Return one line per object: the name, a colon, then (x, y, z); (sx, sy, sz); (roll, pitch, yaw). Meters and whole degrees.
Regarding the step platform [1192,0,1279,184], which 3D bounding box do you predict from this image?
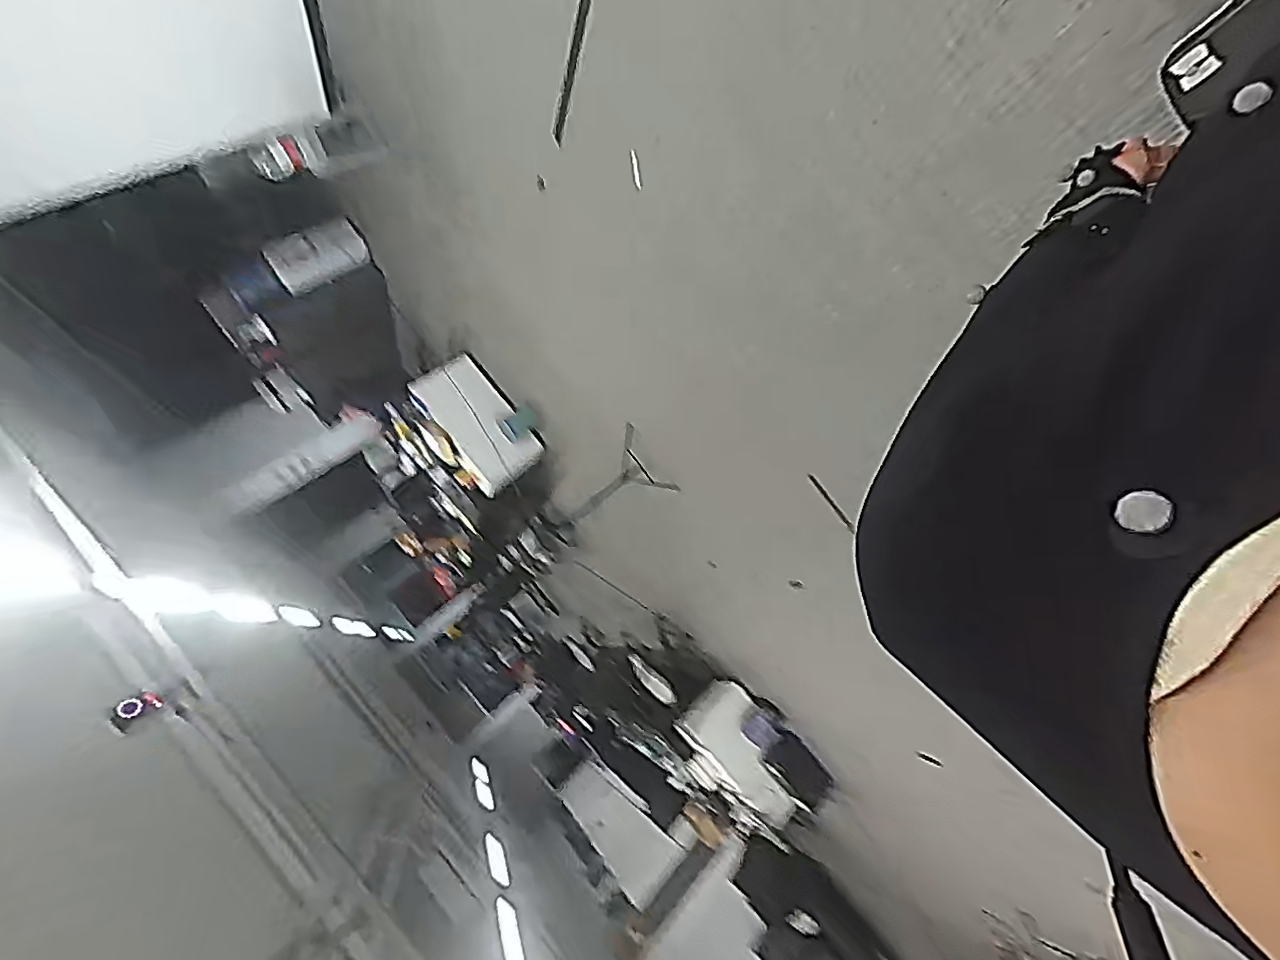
step platform: (1.120, -0.689, 0.614); (0.286, 0.204, 0.684); (53, 154, -3)
